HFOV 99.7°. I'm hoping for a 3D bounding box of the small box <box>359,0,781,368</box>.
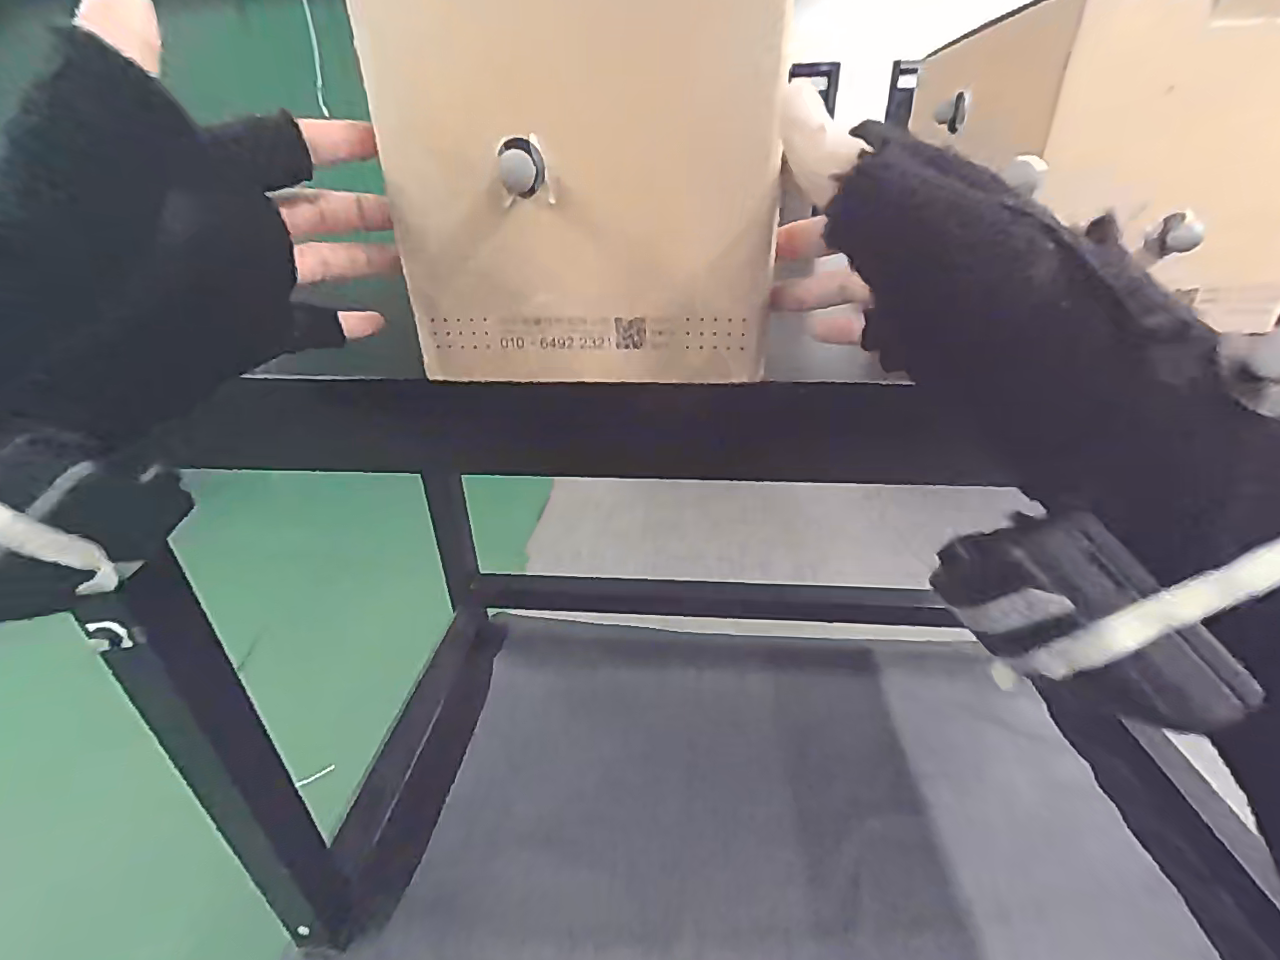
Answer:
[{"bbox_3d":[-0.017,-0.164,0.303,0.168,0.176,0.179,1,27,5],"label":"small box"}]
